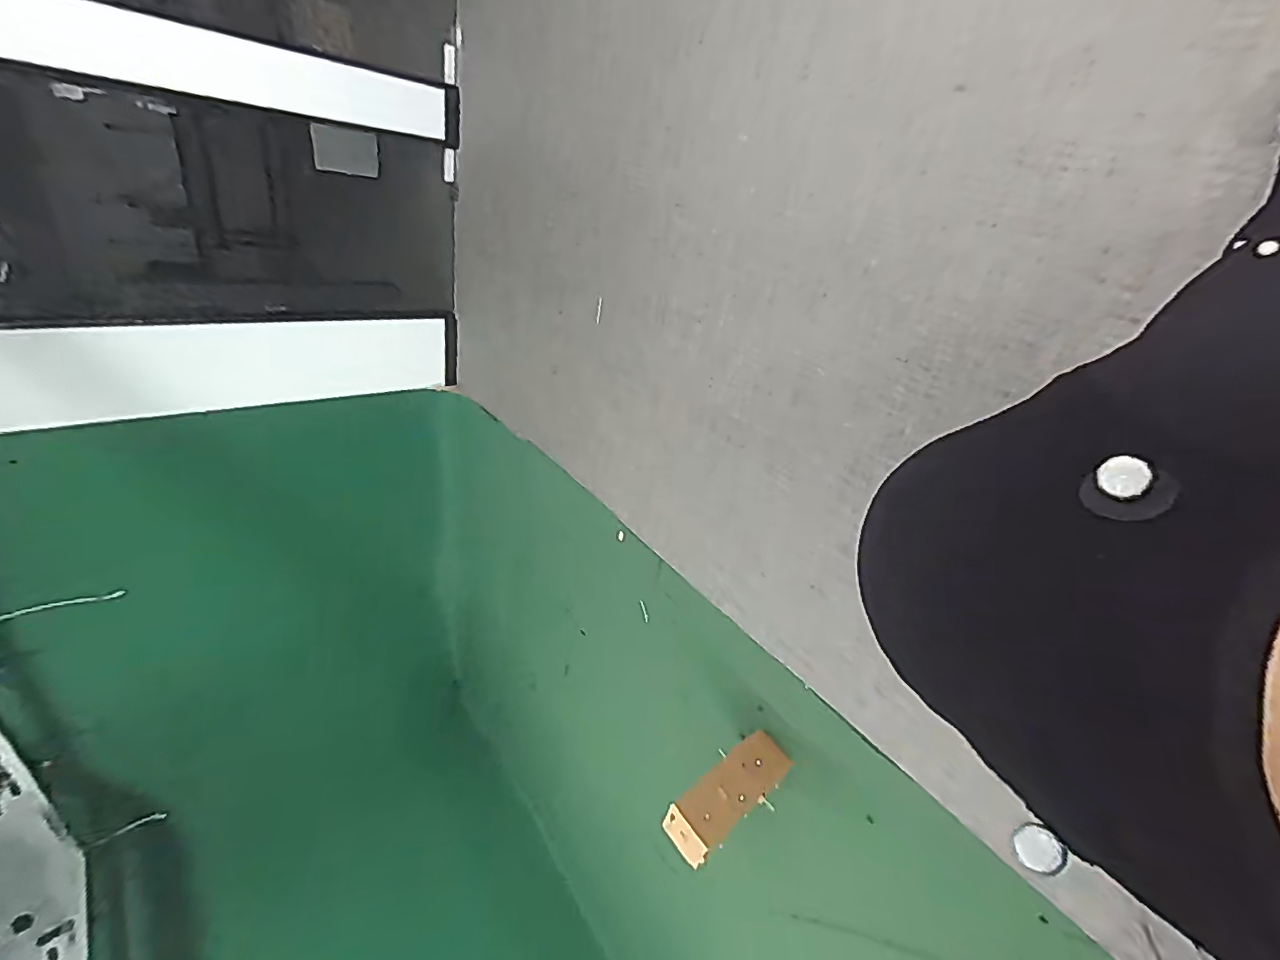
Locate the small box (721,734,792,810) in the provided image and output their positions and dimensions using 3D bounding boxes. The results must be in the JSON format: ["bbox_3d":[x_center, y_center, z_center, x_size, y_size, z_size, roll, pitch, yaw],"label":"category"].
[{"bbox_3d":[0.450,1.117,2.087,0.179,0.176,0.168,42,130,34],"label":"small box"}]

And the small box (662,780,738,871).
[{"bbox_3d":[0.210,1.191,1.874,0.179,0.176,0.168,40,130,34],"label":"small box"}]
